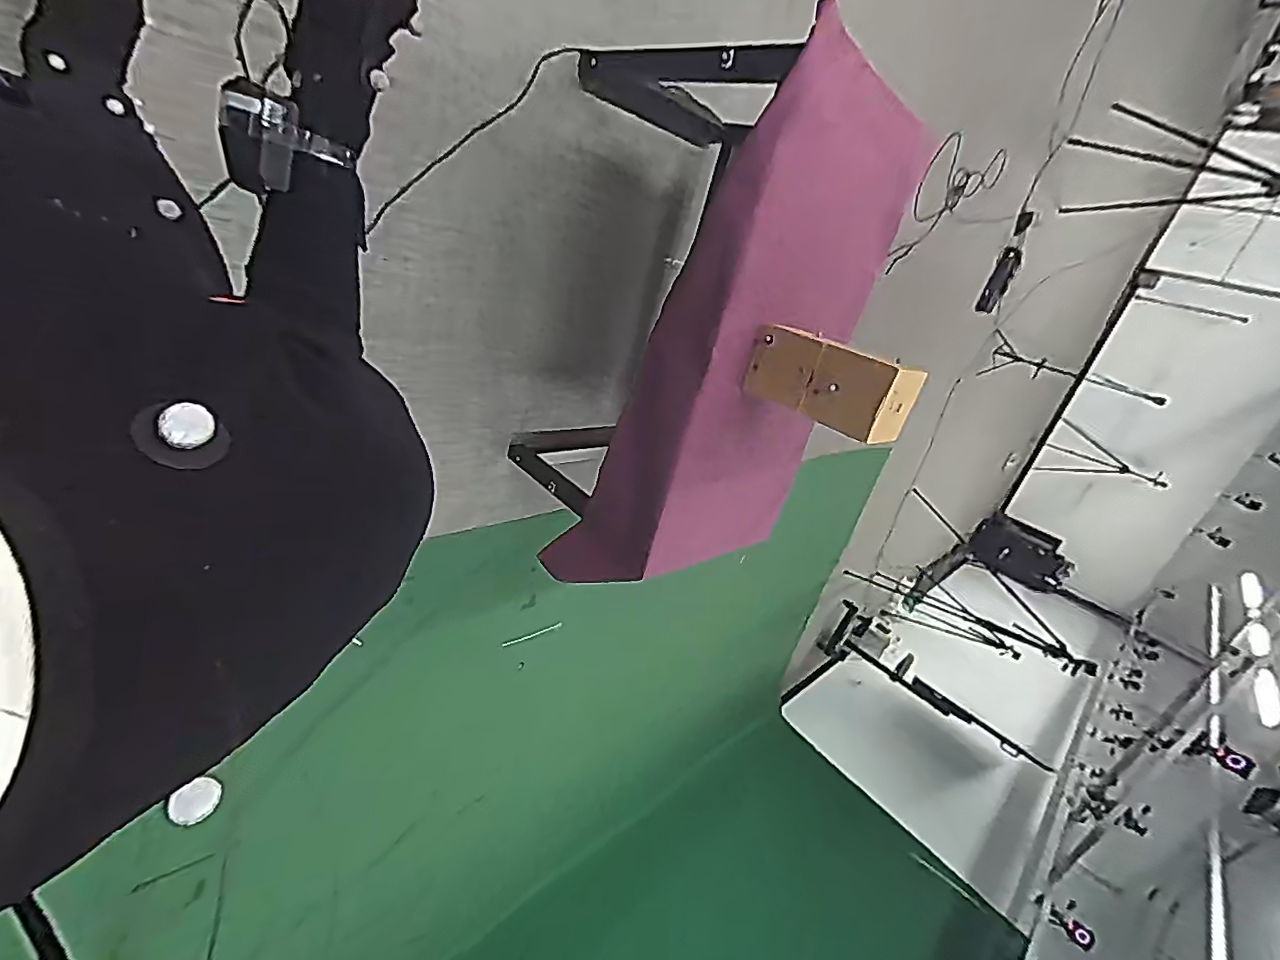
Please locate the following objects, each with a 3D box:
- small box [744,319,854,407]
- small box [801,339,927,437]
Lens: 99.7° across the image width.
[{"bbox_3d":[0.379,-0.279,1.294,0.179,0.176,0.168,-7,123,-45],"label":"small box"},{"bbox_3d":[0.493,-0.205,1.200,0.179,0.176,0.168,-7,122,-44],"label":"small box"}]
